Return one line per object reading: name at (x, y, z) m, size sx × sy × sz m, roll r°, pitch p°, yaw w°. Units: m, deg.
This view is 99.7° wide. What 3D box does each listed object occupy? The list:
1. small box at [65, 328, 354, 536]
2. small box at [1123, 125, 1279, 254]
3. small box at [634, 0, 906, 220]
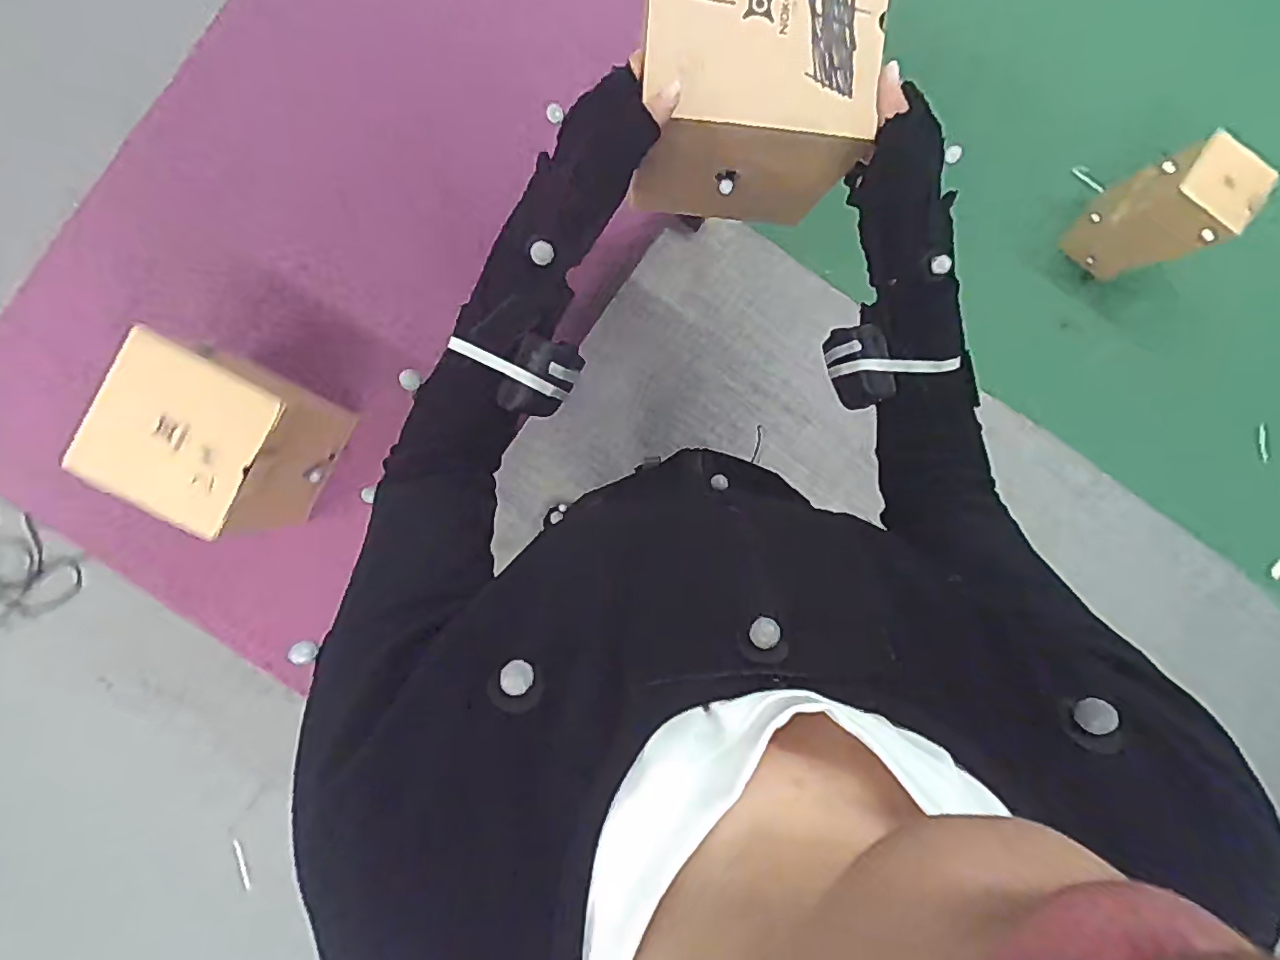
small box at (-0.492, -0.051, 0.648) m, size 0.179 × 0.176 × 0.168 m, roll 28°, pitch 91°, yaw -2°
small box at (1.301, -0.664, 1.260) m, size 0.179 × 0.176 × 0.168 m, roll 34°, pitch 91°, yaw -3°
small box at (0.096, -0.343, 0.456) m, size 0.179 × 0.176 × 0.168 m, roll 8°, pitch 93°, yaw -4°
